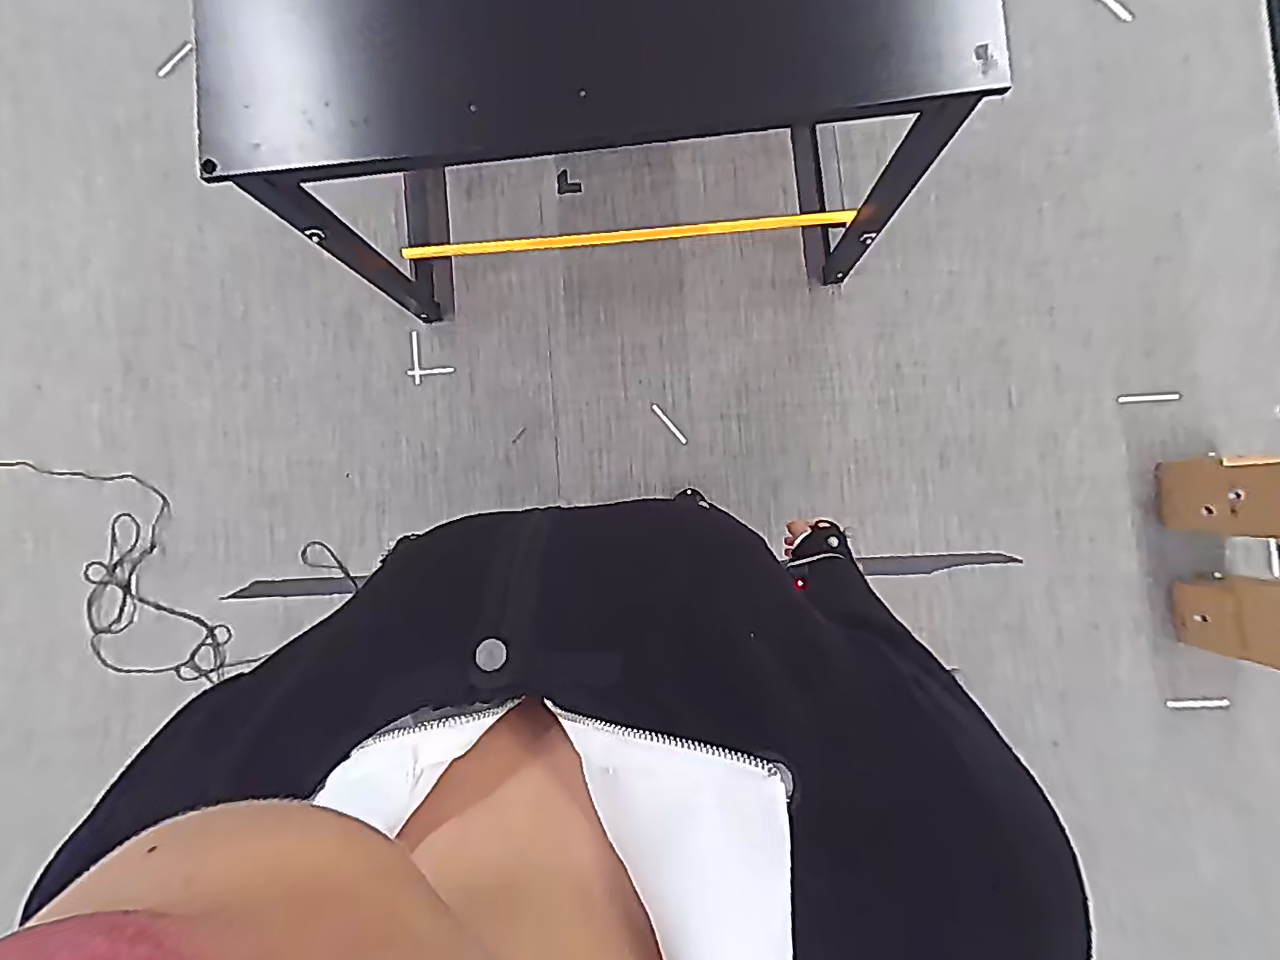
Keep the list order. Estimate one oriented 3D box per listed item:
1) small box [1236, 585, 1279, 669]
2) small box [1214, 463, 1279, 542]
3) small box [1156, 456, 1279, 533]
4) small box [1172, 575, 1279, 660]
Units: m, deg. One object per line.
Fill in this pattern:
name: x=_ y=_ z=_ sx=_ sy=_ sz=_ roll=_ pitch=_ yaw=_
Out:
small box: x=1.449 y=0.320 z=1.159 sx=0.168 sy=0.176 sz=0.179 roll=-6 pitch=88 yaw=3
small box: x=1.422 y=0.046 z=1.171 sx=0.179 sy=0.176 sz=0.168 roll=-3 pitch=87 yaw=4
small box: x=1.434 y=0.035 z=1.334 sx=0.168 sy=0.176 sz=0.179 roll=-3 pitch=88 yaw=3
small box: x=1.463 y=0.332 z=1.324 sx=0.179 sy=0.176 sz=0.168 roll=-6 pitch=88 yaw=4
